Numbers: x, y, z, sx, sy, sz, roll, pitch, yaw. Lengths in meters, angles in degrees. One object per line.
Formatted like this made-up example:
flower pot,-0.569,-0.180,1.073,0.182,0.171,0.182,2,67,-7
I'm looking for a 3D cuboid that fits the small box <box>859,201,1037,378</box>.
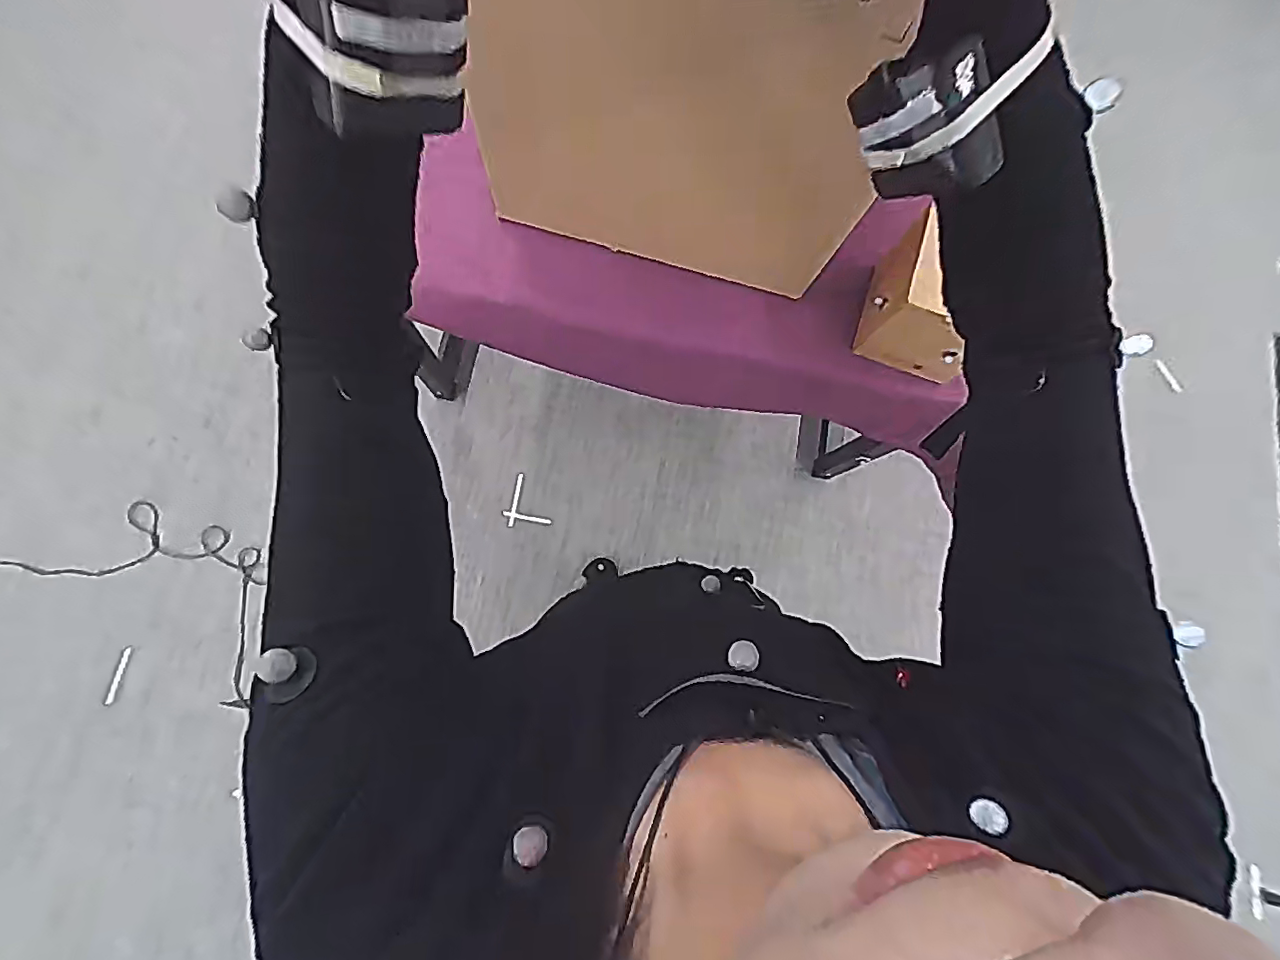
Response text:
small box,0.467,-0.284,0.844,0.168,0.176,0.179,19,77,-2
